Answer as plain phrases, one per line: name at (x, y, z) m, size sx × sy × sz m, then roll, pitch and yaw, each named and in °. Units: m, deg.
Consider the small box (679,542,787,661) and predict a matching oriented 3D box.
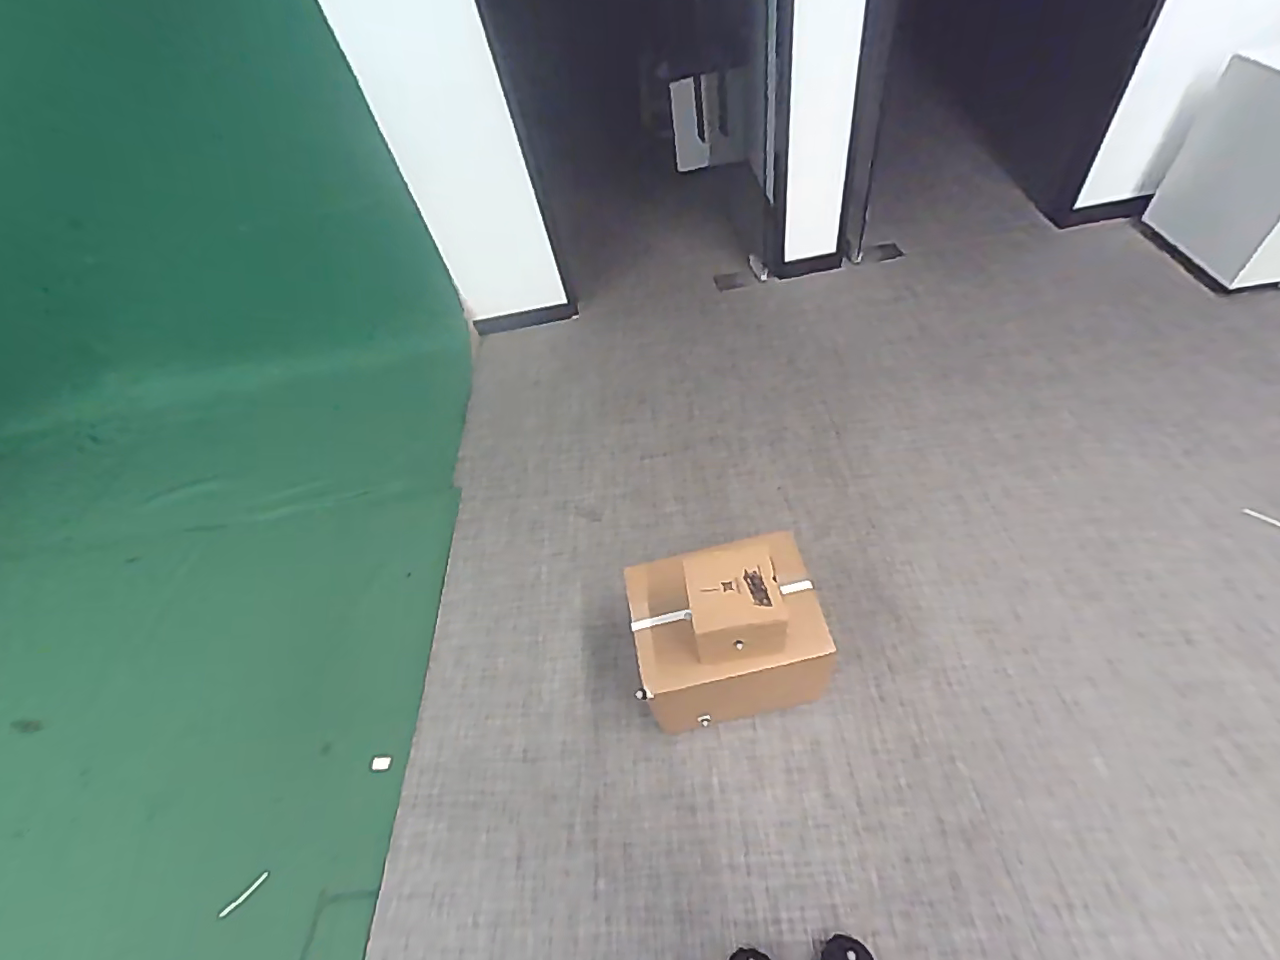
small box at (0.183, 0.250, 1.096) m, size 0.179 × 0.176 × 0.168 m, roll -12°, pitch 52°, yaw 1°
